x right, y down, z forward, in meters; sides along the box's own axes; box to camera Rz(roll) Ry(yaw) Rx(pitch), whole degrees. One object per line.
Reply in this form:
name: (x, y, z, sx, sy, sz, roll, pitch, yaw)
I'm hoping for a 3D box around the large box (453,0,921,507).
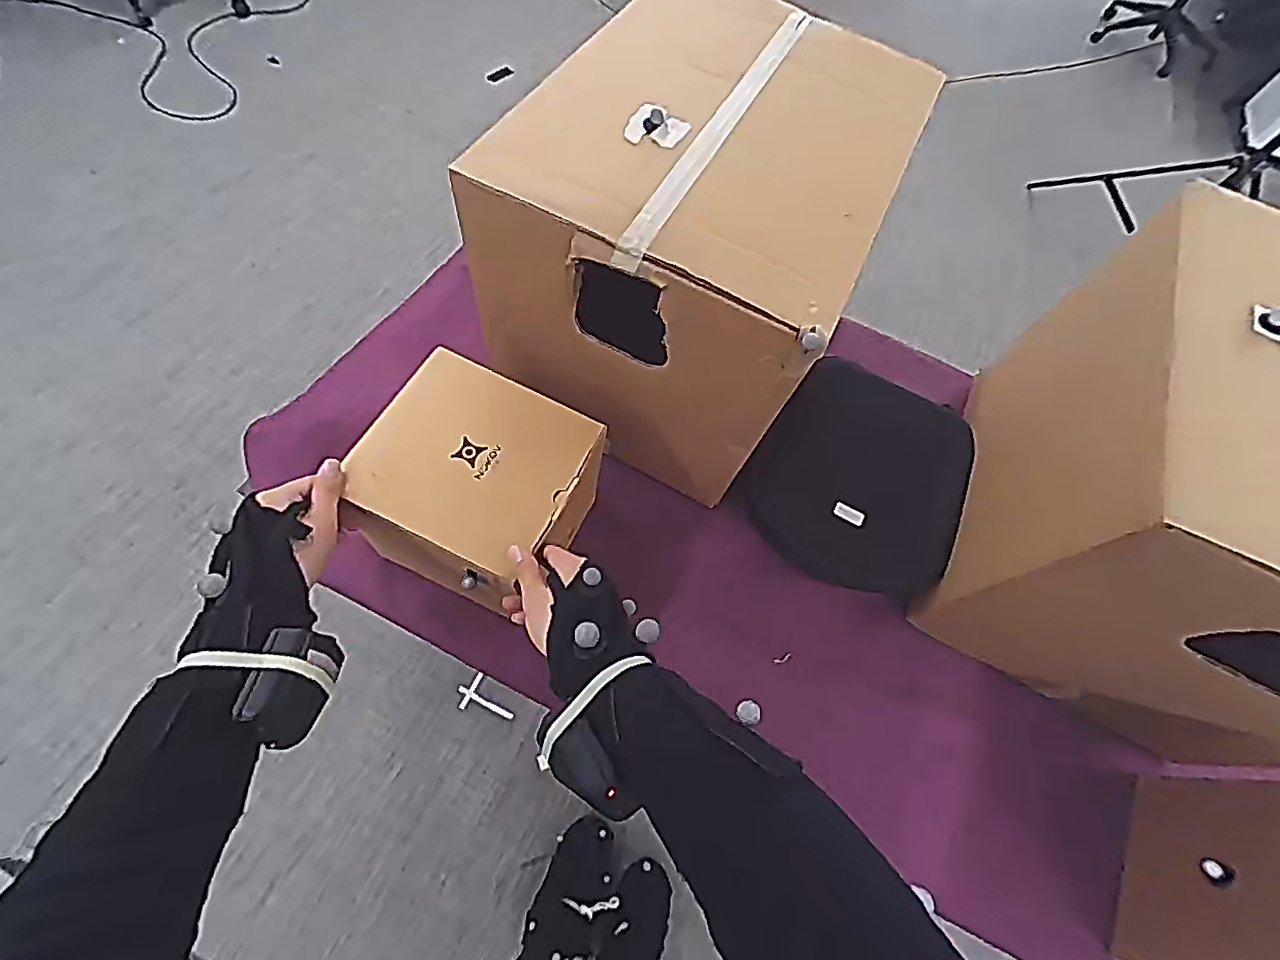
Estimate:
large box: (0.055, -0.245, 0.622, 0.320, 0.320, 0.408, 26, 66, 6)
